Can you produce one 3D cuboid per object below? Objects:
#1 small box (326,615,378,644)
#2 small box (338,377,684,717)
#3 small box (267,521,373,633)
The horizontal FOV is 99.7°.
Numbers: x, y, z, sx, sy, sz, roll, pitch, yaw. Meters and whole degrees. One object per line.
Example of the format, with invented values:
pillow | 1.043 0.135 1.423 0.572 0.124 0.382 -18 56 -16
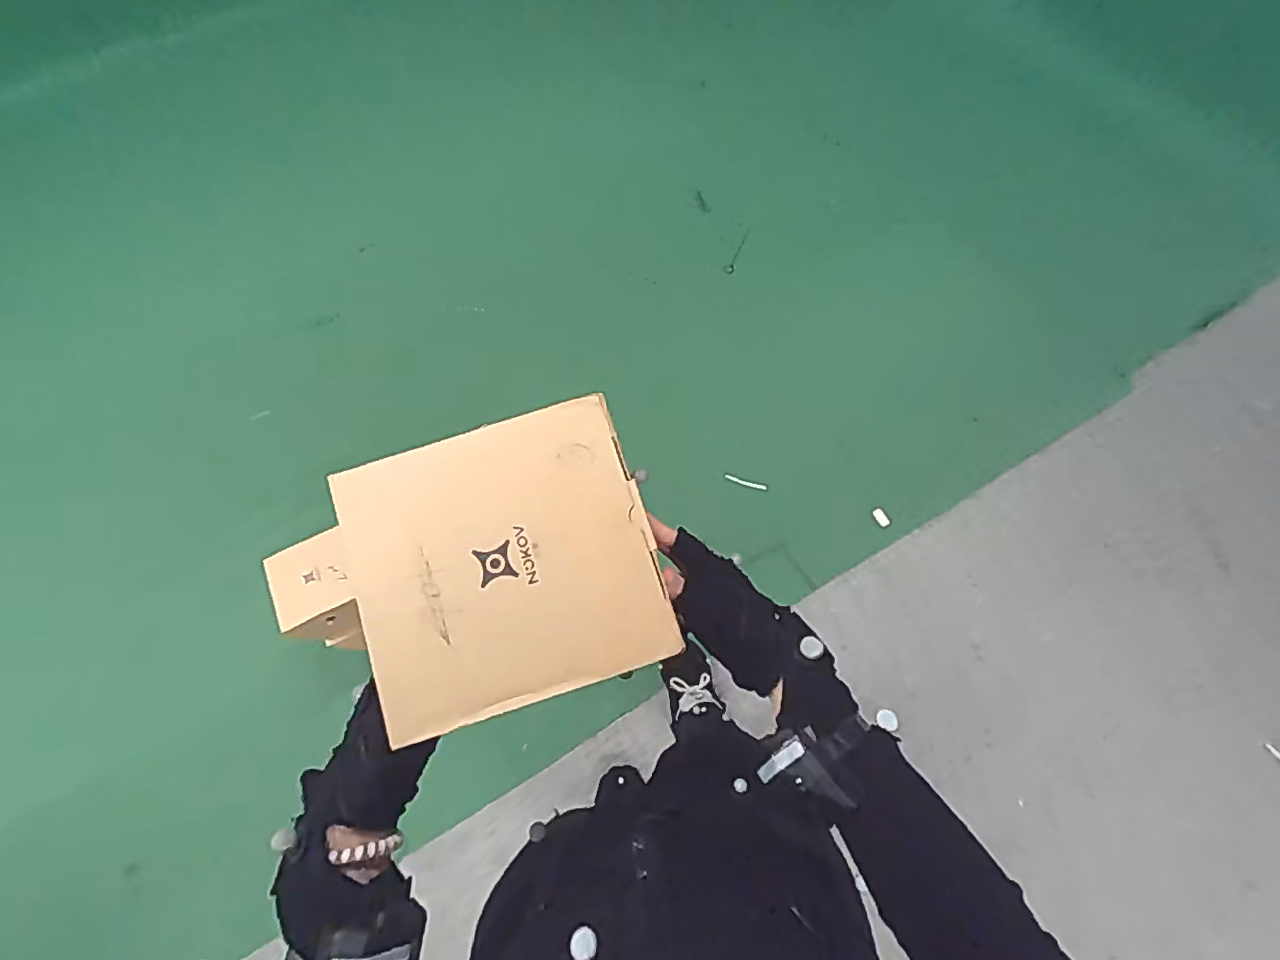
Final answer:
small box | -0.658 0.289 1.324 0.168 0.176 0.179 -24 70 -8
small box | -0.080 0.047 0.401 0.179 0.176 0.168 -17 80 -3
small box | -0.657 0.218 1.175 0.179 0.176 0.168 -25 70 -8
